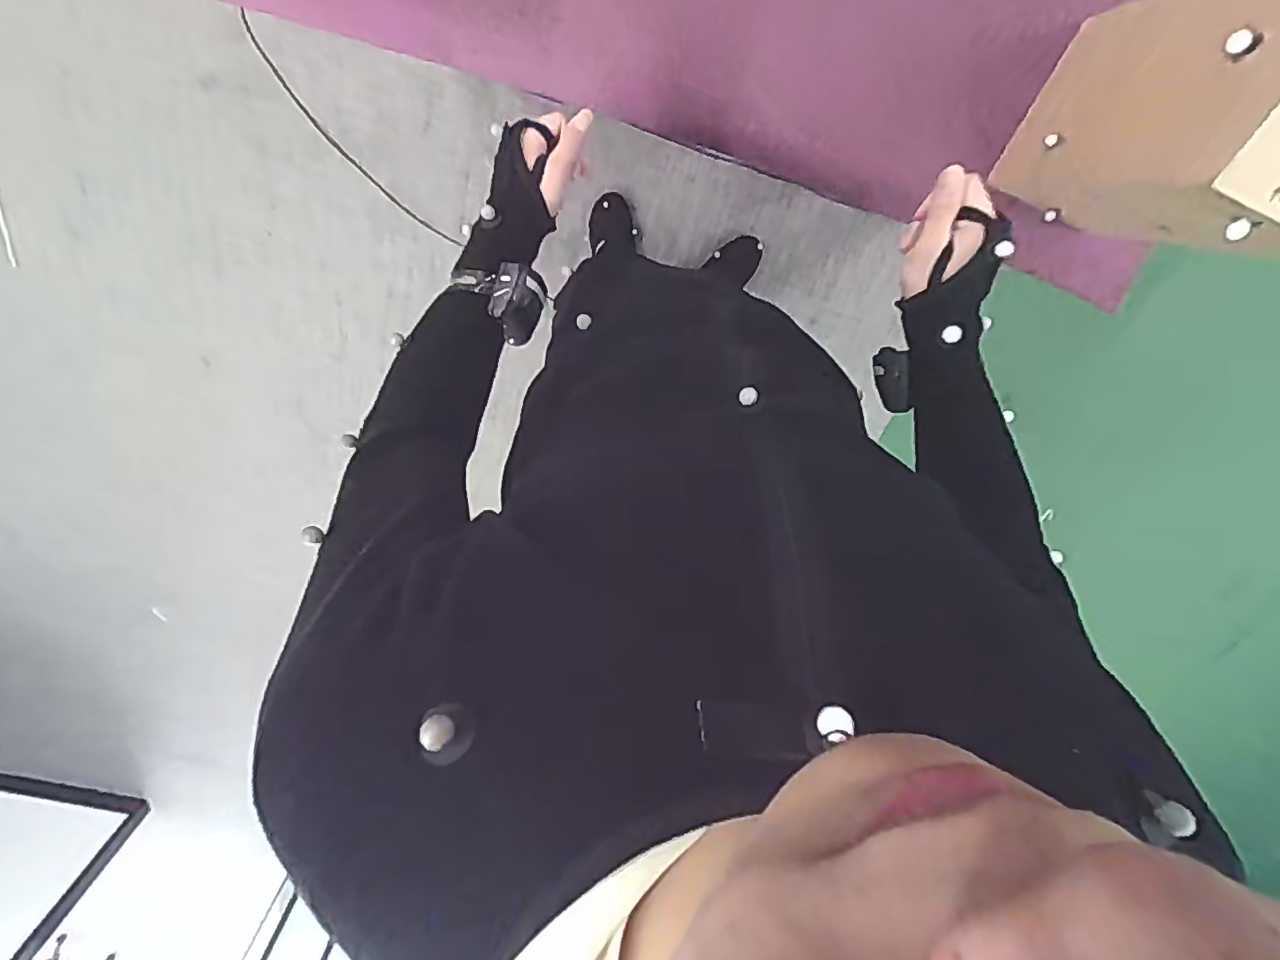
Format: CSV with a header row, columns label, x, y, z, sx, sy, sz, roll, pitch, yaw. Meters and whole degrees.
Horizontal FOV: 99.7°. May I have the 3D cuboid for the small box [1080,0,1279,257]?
label,x,y,z,sx,sy,sz,roll,pitch,yaw
small box,0.535,-0.304,0.448,0.168,0.176,0.179,21,118,-8
